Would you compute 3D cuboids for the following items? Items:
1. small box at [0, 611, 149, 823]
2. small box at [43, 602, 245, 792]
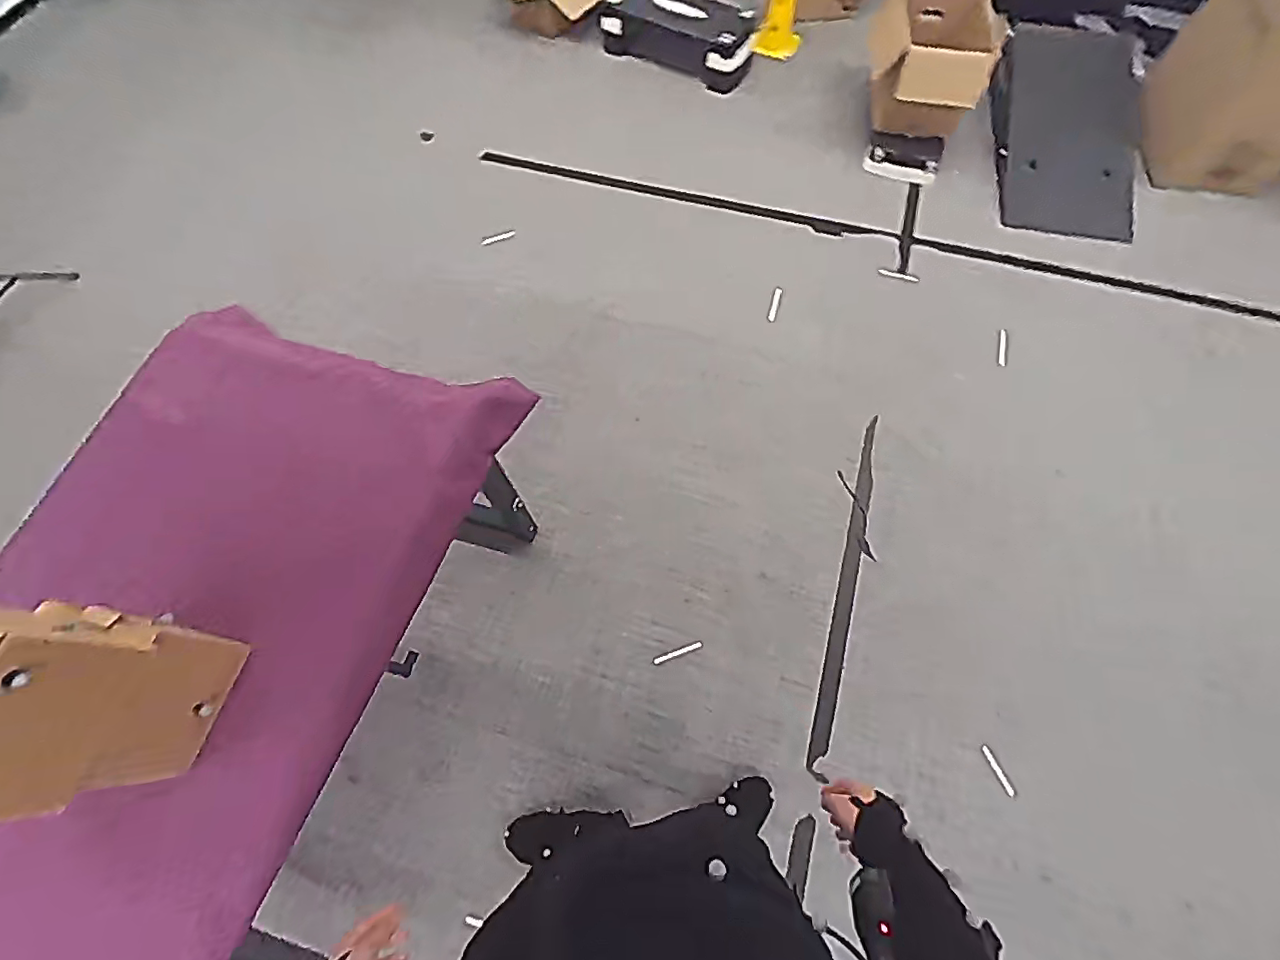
[{"bbox_3d":[-0.666,0.232,0.542,0.168,0.176,0.179,12,67,7],"label":"small box"},{"bbox_3d":[-0.667,0.278,0.700,0.168,0.176,0.179,12,67,8],"label":"small box"}]
